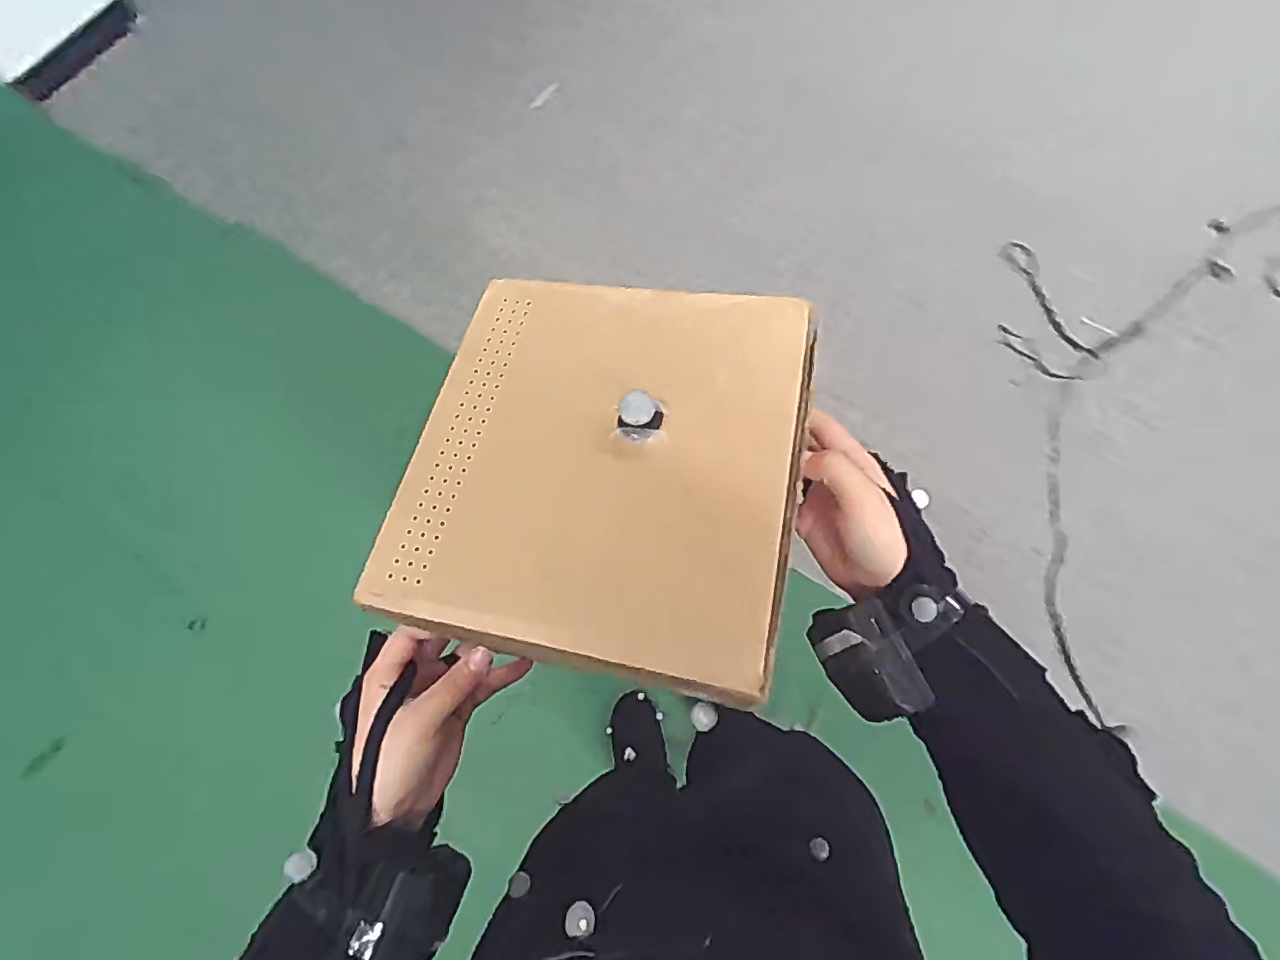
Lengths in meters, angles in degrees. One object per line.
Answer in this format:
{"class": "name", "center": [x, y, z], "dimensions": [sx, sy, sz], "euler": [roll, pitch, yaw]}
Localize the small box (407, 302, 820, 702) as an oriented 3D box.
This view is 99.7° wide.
{"class": "small box", "center": [-0.002, 0.017, 0.316], "dimensions": [0.176, 0.168, 0.179], "euler": [9, 67, 13]}
